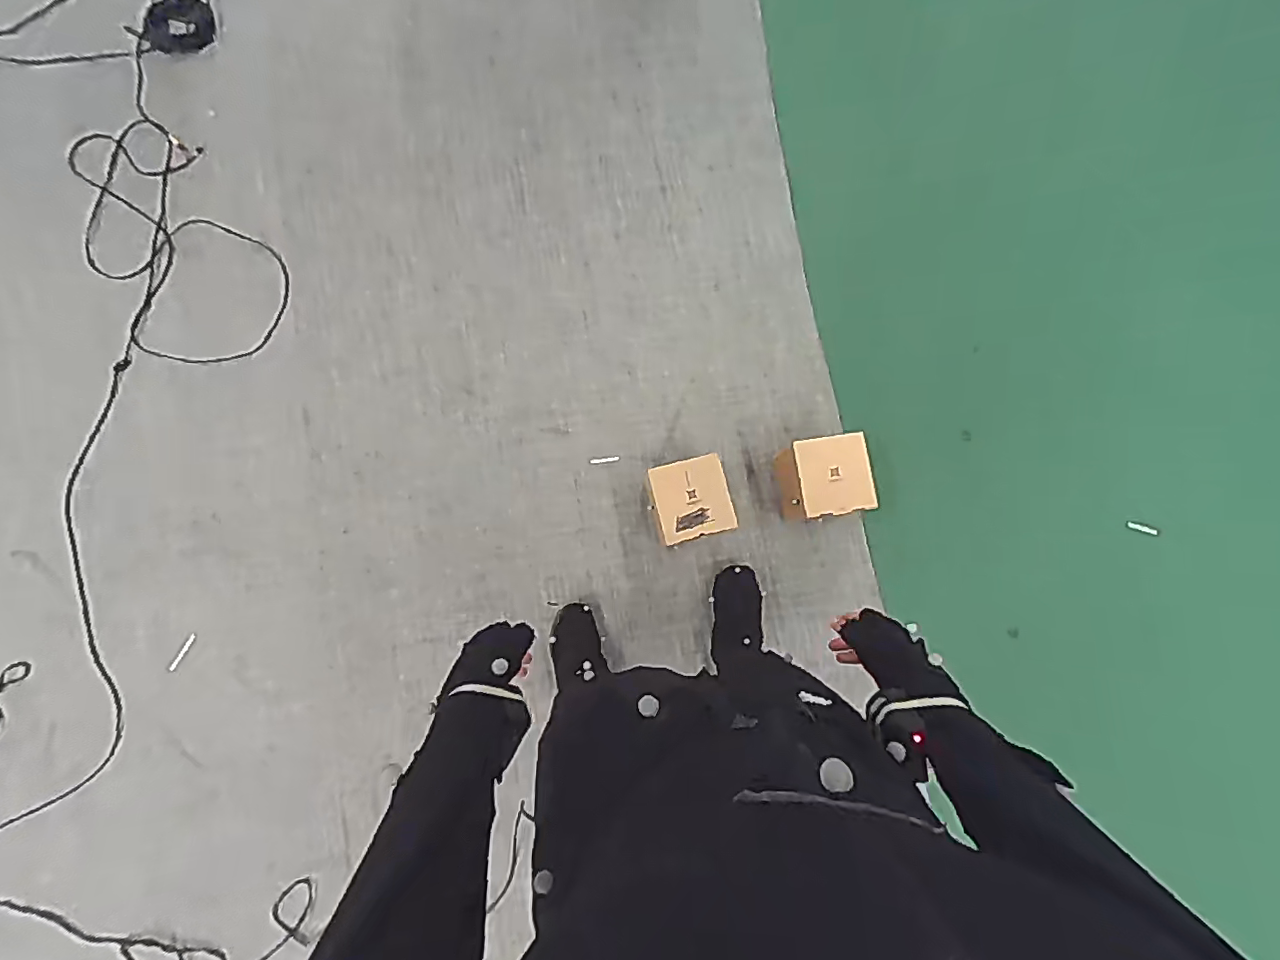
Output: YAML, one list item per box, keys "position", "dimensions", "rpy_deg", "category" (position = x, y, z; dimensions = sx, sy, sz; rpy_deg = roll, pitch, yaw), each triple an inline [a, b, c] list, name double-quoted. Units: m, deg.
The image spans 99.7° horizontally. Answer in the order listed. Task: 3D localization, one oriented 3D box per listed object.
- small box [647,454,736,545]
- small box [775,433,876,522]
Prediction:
- position: [0.114, 0.051, 1.275]
  dimensions: [0.168, 0.176, 0.179]
  rpy_deg: [-13, 82, -4]
  category: "small box"
- position: [0.434, 0.000, 1.293]
  dimensions: [0.168, 0.176, 0.179]
  rpy_deg: [-8, 83, -2]
  category: "small box"
